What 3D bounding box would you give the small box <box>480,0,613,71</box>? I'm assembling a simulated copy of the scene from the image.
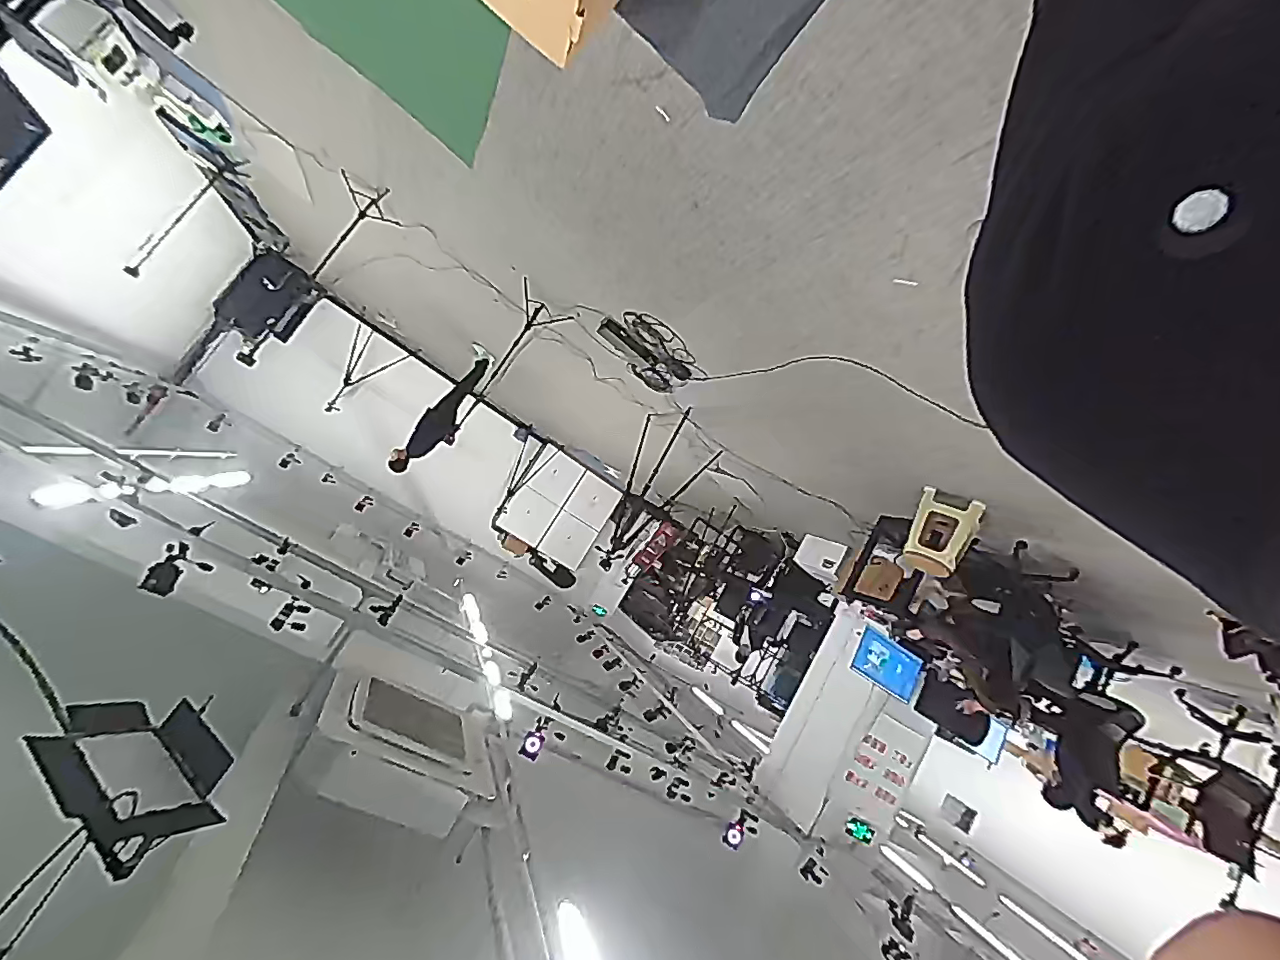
[{"bbox_3d":[-0.117,-0.739,0.744,0.179,0.176,0.168,34,170,-14],"label":"small box"}]
